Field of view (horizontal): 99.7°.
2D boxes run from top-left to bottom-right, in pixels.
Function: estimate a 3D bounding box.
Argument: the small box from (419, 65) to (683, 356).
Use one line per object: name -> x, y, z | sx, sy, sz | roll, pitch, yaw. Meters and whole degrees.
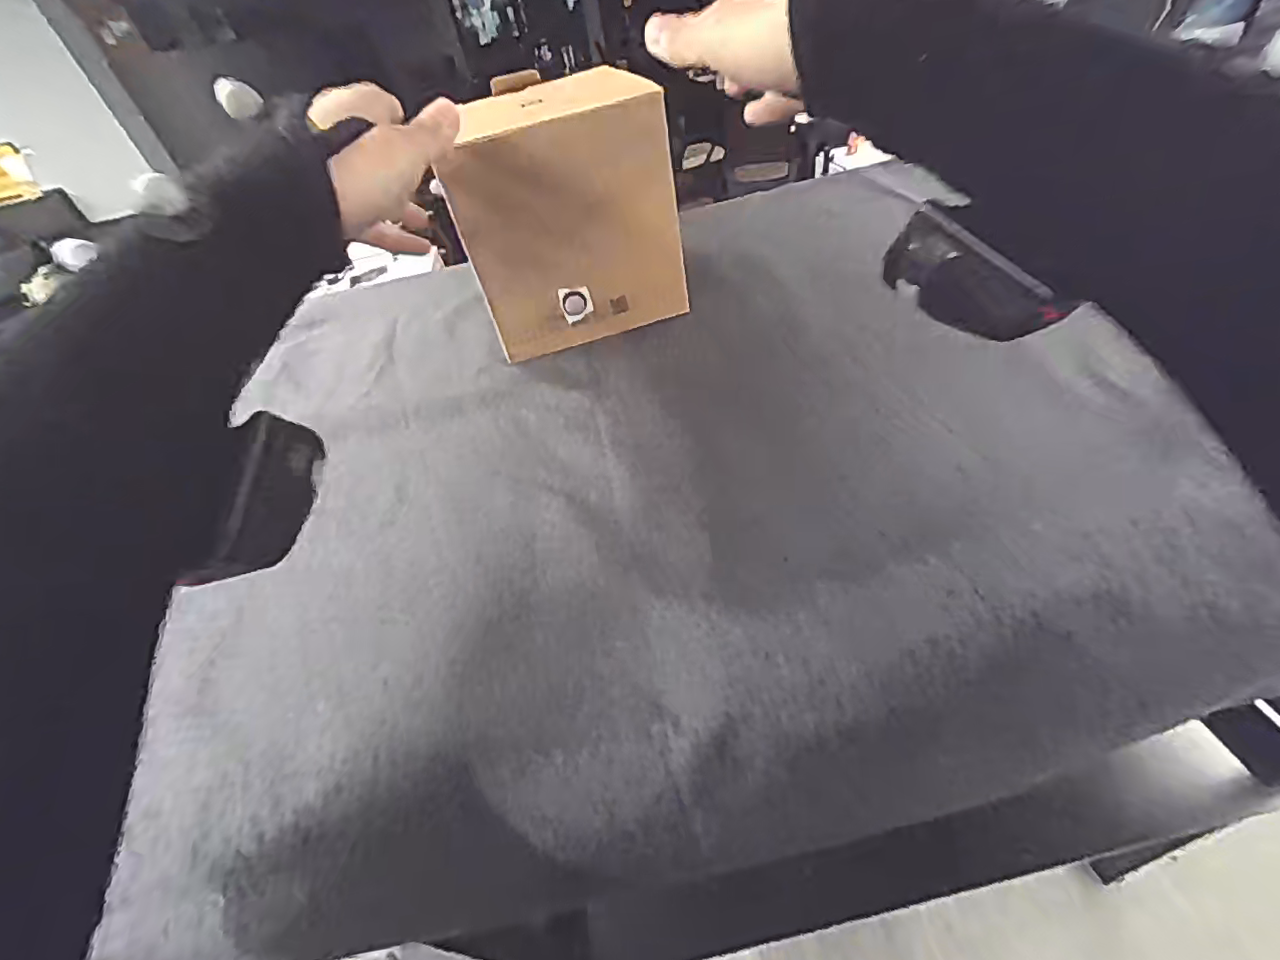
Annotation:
small box -> -0.072, -0.234, 0.468 | 0.168, 0.176, 0.179 | -19, 43, -4
